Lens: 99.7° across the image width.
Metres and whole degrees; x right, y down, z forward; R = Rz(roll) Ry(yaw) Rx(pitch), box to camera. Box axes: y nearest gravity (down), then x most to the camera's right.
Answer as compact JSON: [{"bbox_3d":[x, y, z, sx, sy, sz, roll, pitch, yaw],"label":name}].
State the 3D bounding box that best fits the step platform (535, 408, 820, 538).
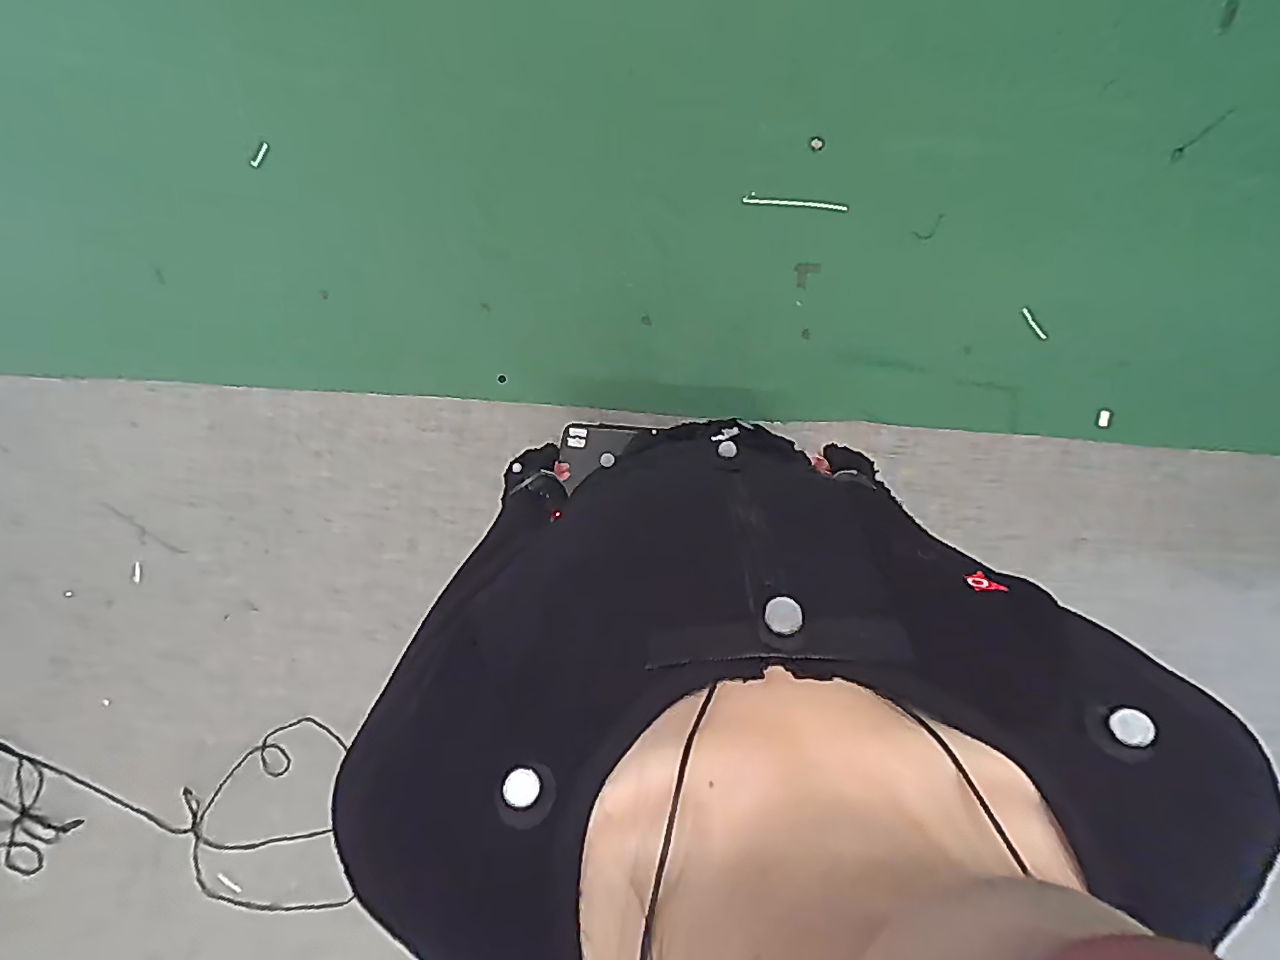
[{"bbox_3d":[0.089,-0.022,1.383,0.684,0.204,0.286,3,95,0],"label":"step platform"}]
